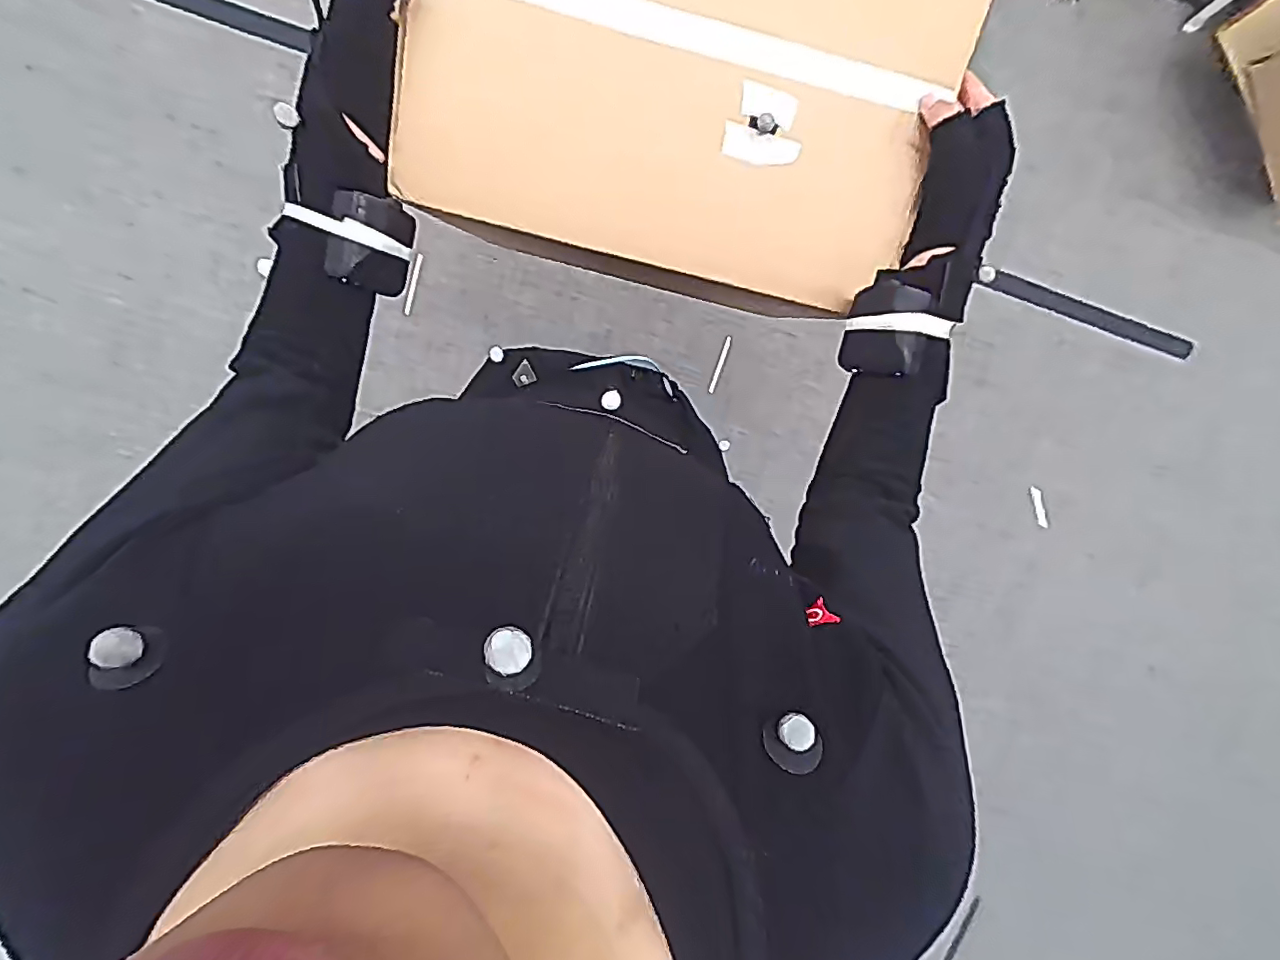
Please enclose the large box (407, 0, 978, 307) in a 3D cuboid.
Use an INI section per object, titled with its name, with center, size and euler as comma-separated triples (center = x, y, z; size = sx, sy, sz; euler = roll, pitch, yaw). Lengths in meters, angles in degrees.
[large box]
center = 0.033, -0.373, 0.541
size = 0.408, 0.320, 0.320
euler = 12, 108, -7
